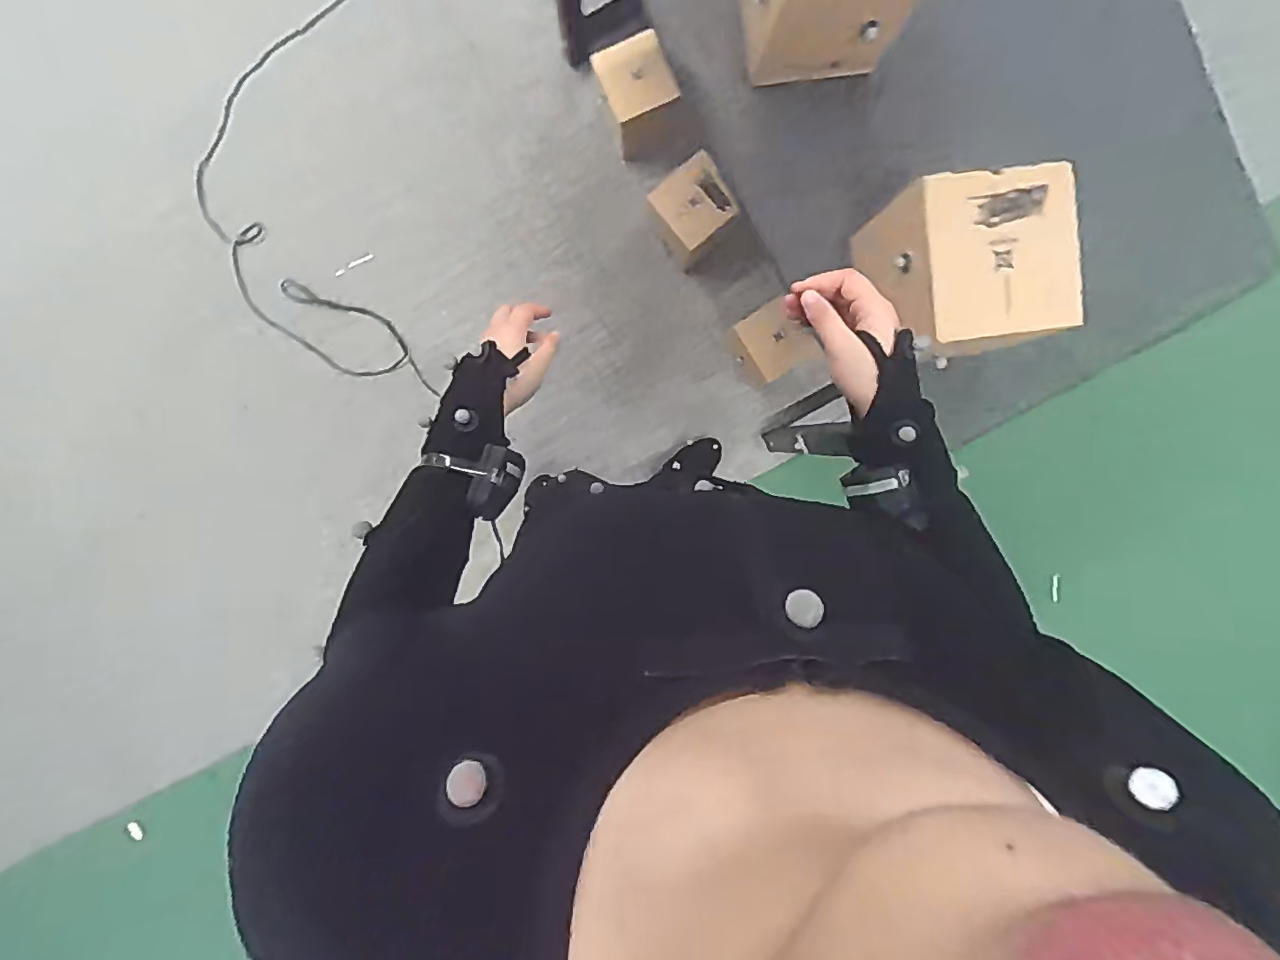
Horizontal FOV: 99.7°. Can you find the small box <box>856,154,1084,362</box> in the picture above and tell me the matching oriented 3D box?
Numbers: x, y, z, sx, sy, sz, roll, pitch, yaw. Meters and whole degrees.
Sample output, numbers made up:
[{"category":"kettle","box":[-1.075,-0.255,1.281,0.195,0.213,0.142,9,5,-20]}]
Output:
[{"category":"small box","box":[0.376,-0.250,0.646,0.168,0.176,0.179,-8,93,-3]}]

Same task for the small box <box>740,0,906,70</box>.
[{"category":"small box","box":[0.216,-0.612,0.622,0.168,0.176,0.179,-9,93,-4]}]

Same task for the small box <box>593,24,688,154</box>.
[{"category":"small box","box":[0.002,-0.945,1.326,0.179,0.176,0.168,-24,94,0]}]

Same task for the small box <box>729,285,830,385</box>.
[{"category":"small box","box":[0.342,-0.357,1.371,0.179,0.176,0.168,-33,94,1]}]
